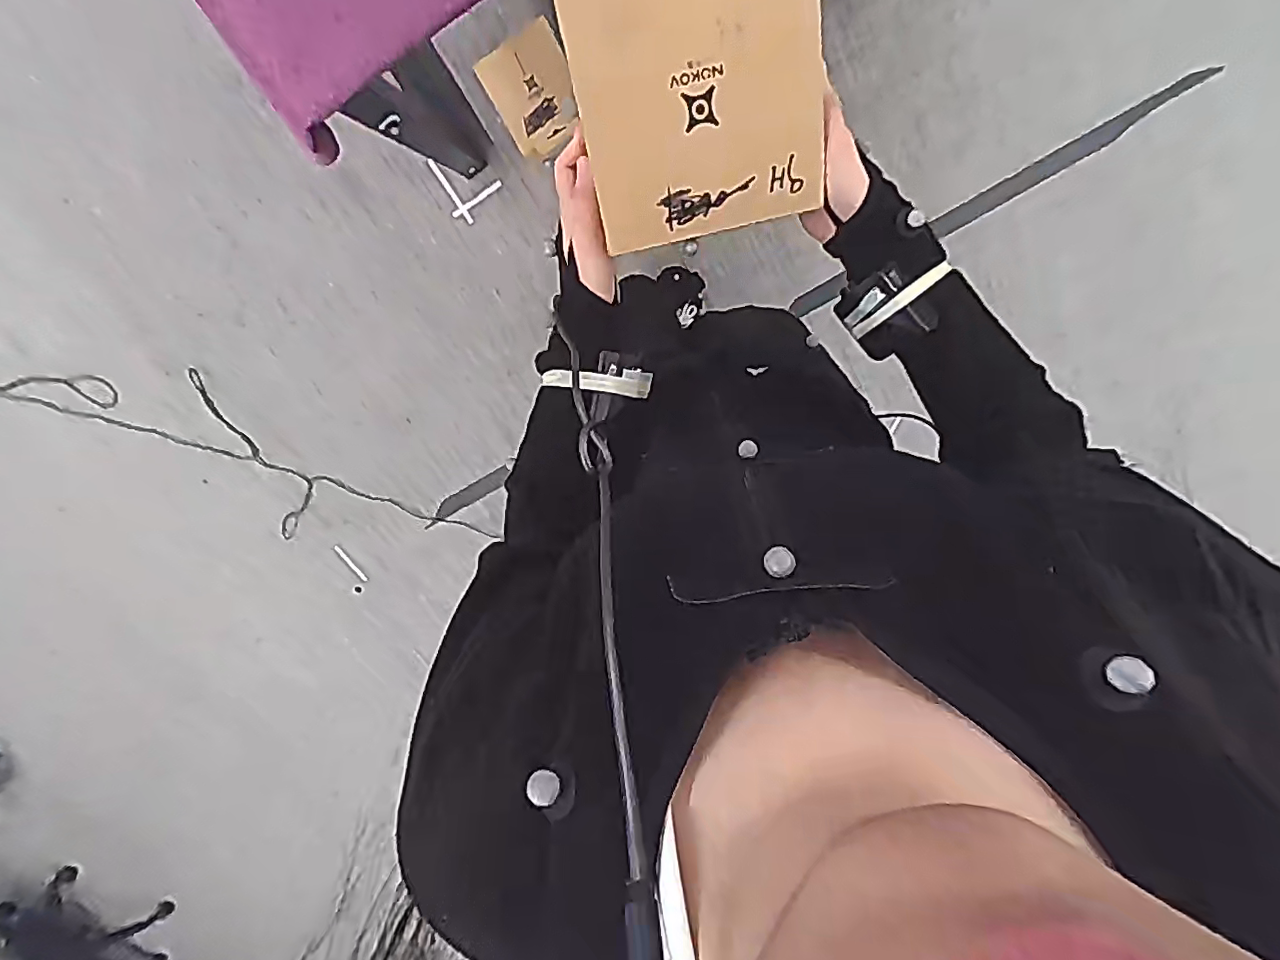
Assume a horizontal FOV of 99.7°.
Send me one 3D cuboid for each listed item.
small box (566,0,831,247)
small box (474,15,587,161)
[{"bbox_3d":[0.039,-0.299,0.427,0.168,0.176,0.179,-11,120,2],"label":"small box"},{"bbox_3d":[-0.208,-0.792,1.119,0.168,0.176,0.179,-28,110,9],"label":"small box"}]
